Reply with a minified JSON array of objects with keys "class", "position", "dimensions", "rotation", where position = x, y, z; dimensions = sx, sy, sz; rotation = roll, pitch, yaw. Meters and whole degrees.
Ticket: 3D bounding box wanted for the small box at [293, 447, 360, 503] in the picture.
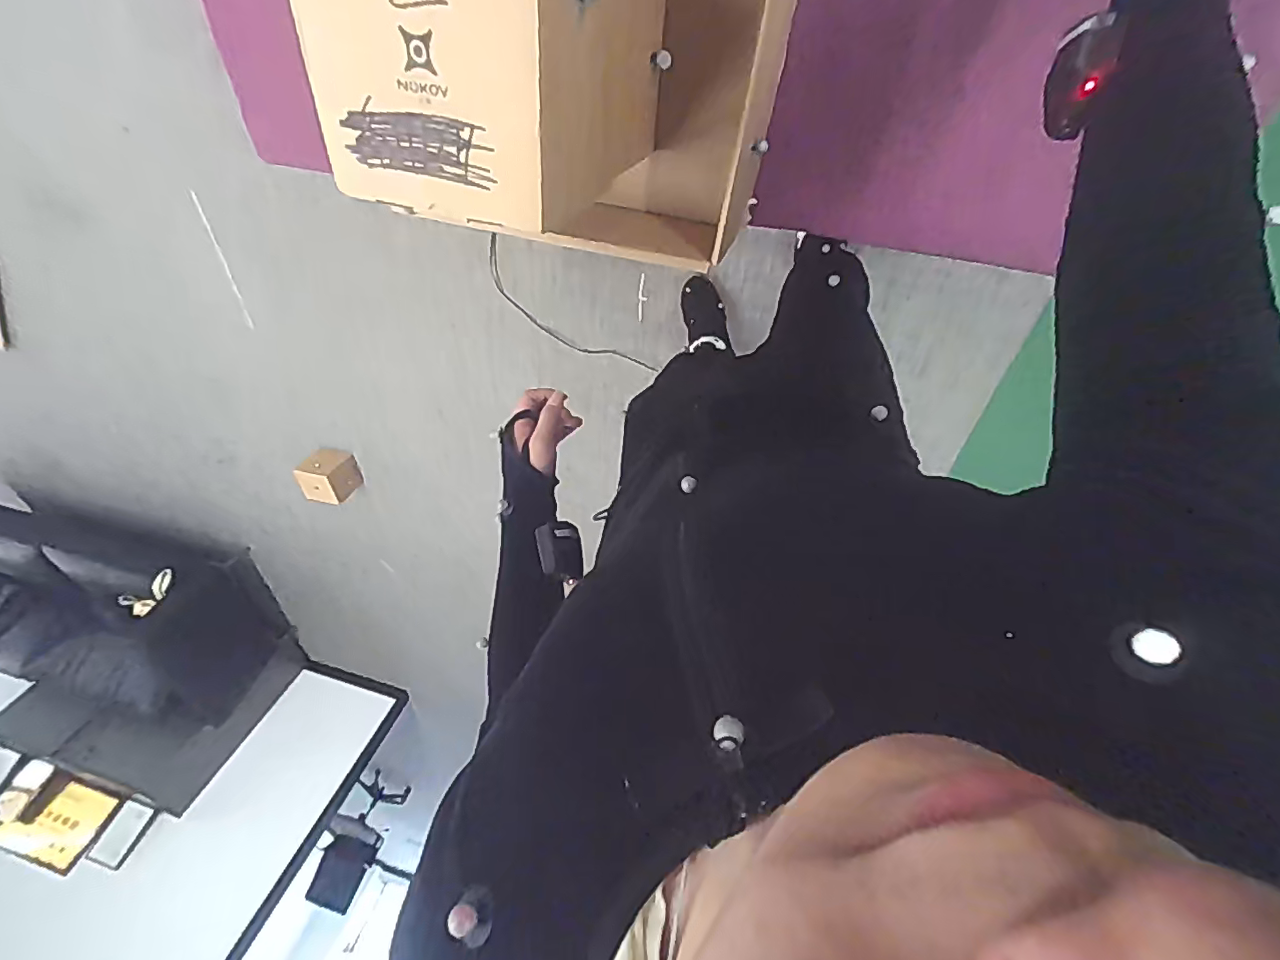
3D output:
[{"class":"small box","position":[-1.366,-0.027,2.376],"dimensions":[0.179,0.176,0.168],"rotation":[11,130,12]}]
